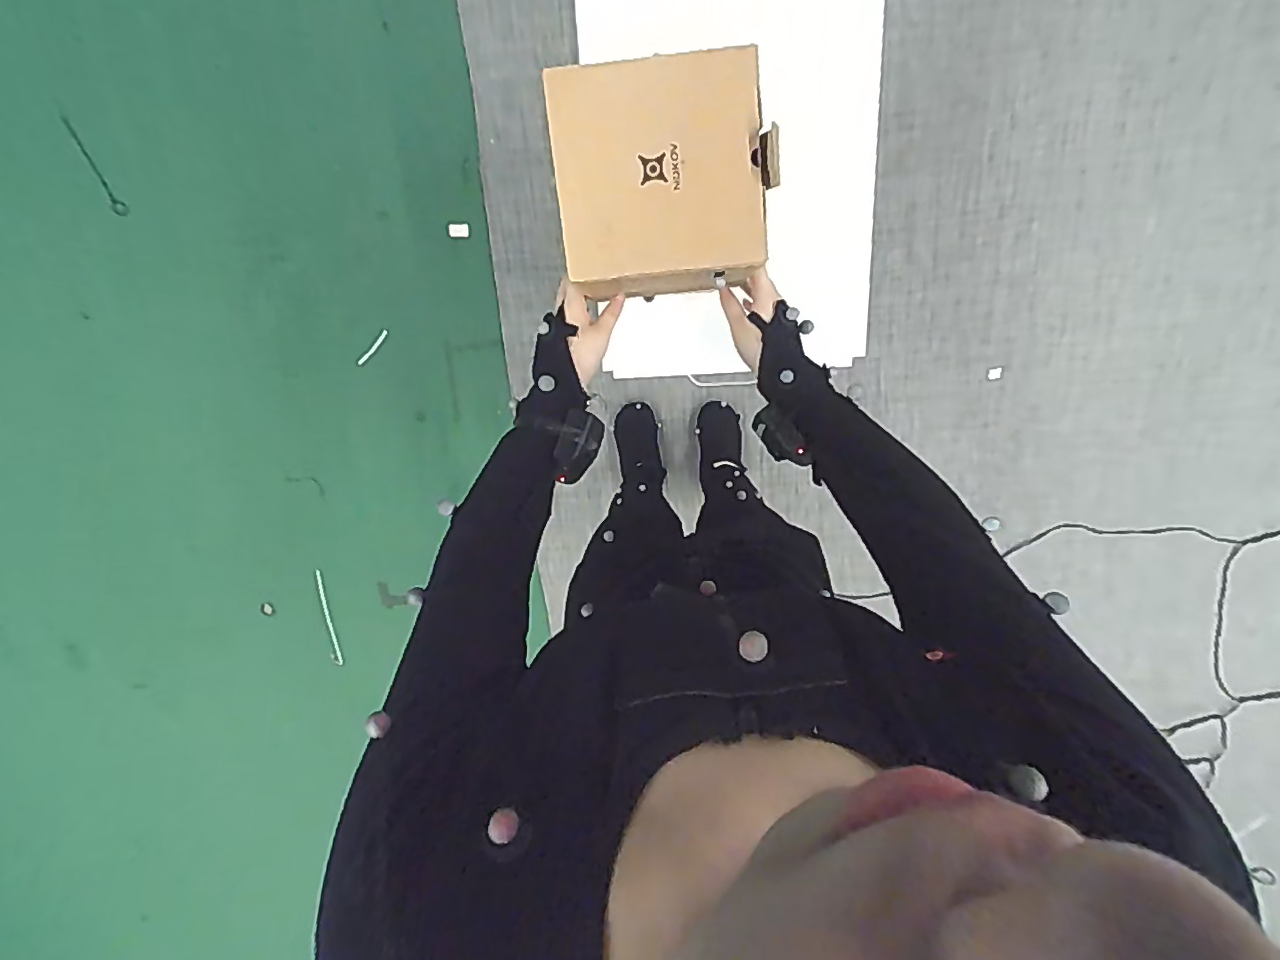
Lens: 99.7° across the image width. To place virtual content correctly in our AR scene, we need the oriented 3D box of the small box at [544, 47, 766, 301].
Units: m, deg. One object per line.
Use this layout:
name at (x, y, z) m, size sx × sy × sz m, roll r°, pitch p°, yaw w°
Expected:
small box at (0.016, -0.276, 0.529) m, size 0.179 × 0.176 × 0.168 m, roll -6°, pitch 102°, yaw 1°
